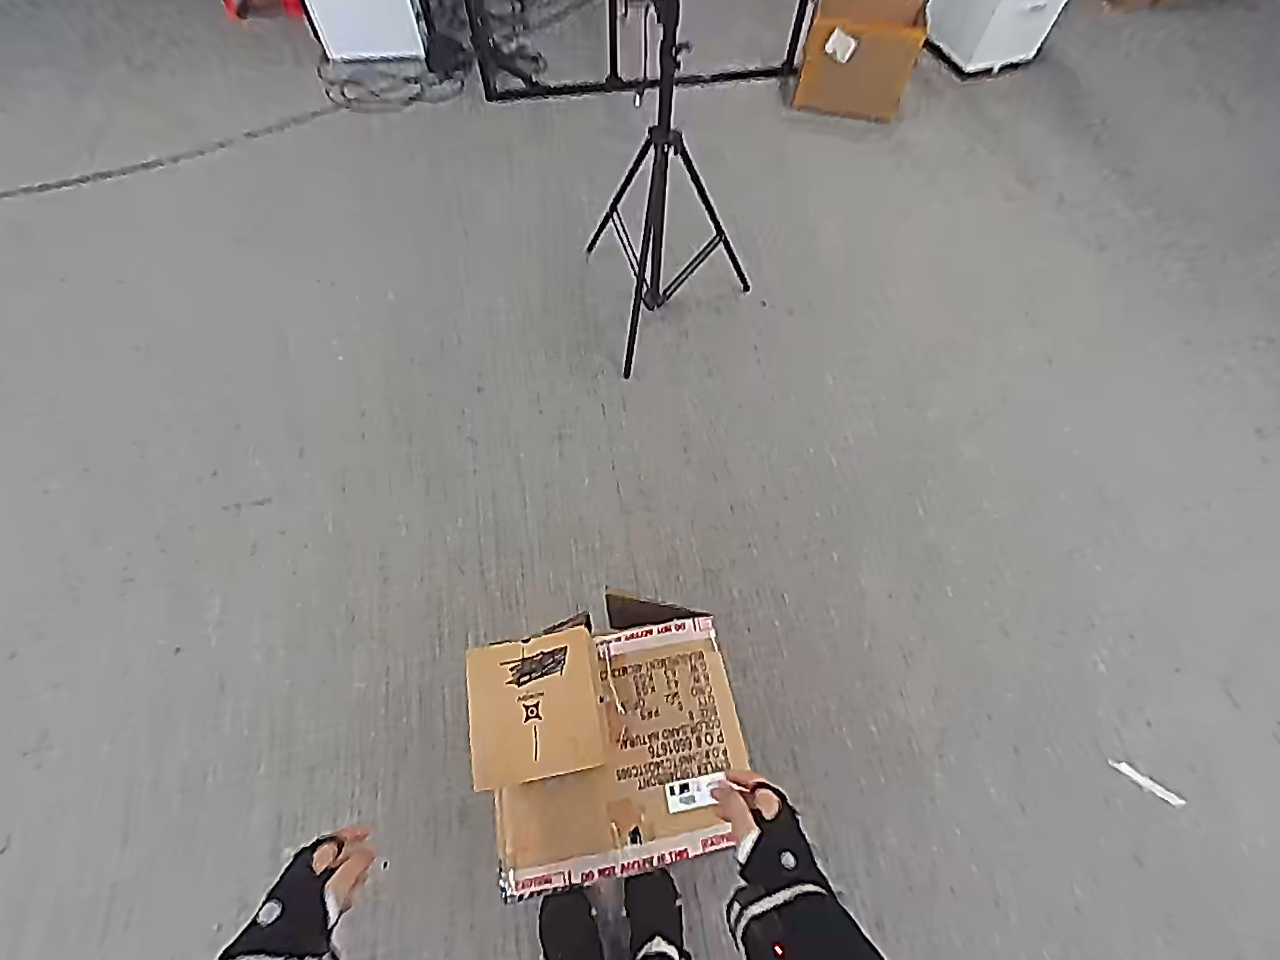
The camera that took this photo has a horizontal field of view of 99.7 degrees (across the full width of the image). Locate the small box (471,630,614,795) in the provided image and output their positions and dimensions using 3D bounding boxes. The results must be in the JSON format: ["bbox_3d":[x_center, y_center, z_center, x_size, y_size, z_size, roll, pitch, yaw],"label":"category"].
[{"bbox_3d":[-0.134,0.331,0.775,0.168,0.176,0.179,-11,66,-4],"label":"small box"}]
